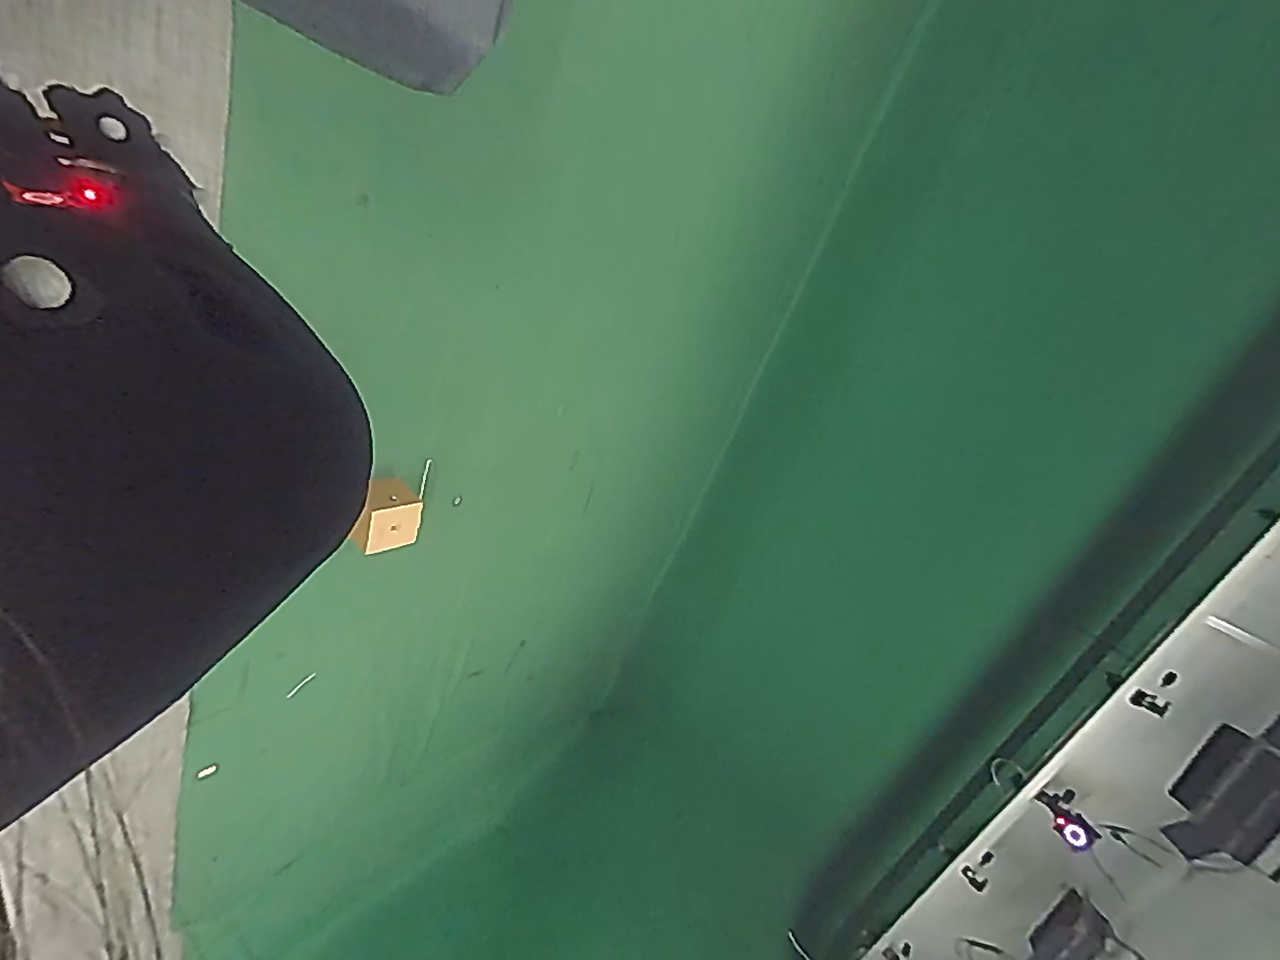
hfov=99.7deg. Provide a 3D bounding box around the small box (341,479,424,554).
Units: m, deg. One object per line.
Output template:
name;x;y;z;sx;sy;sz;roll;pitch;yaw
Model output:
small box;-0.841;0.112;1.767;0.179;0.176;0.168;-14;130;-52
